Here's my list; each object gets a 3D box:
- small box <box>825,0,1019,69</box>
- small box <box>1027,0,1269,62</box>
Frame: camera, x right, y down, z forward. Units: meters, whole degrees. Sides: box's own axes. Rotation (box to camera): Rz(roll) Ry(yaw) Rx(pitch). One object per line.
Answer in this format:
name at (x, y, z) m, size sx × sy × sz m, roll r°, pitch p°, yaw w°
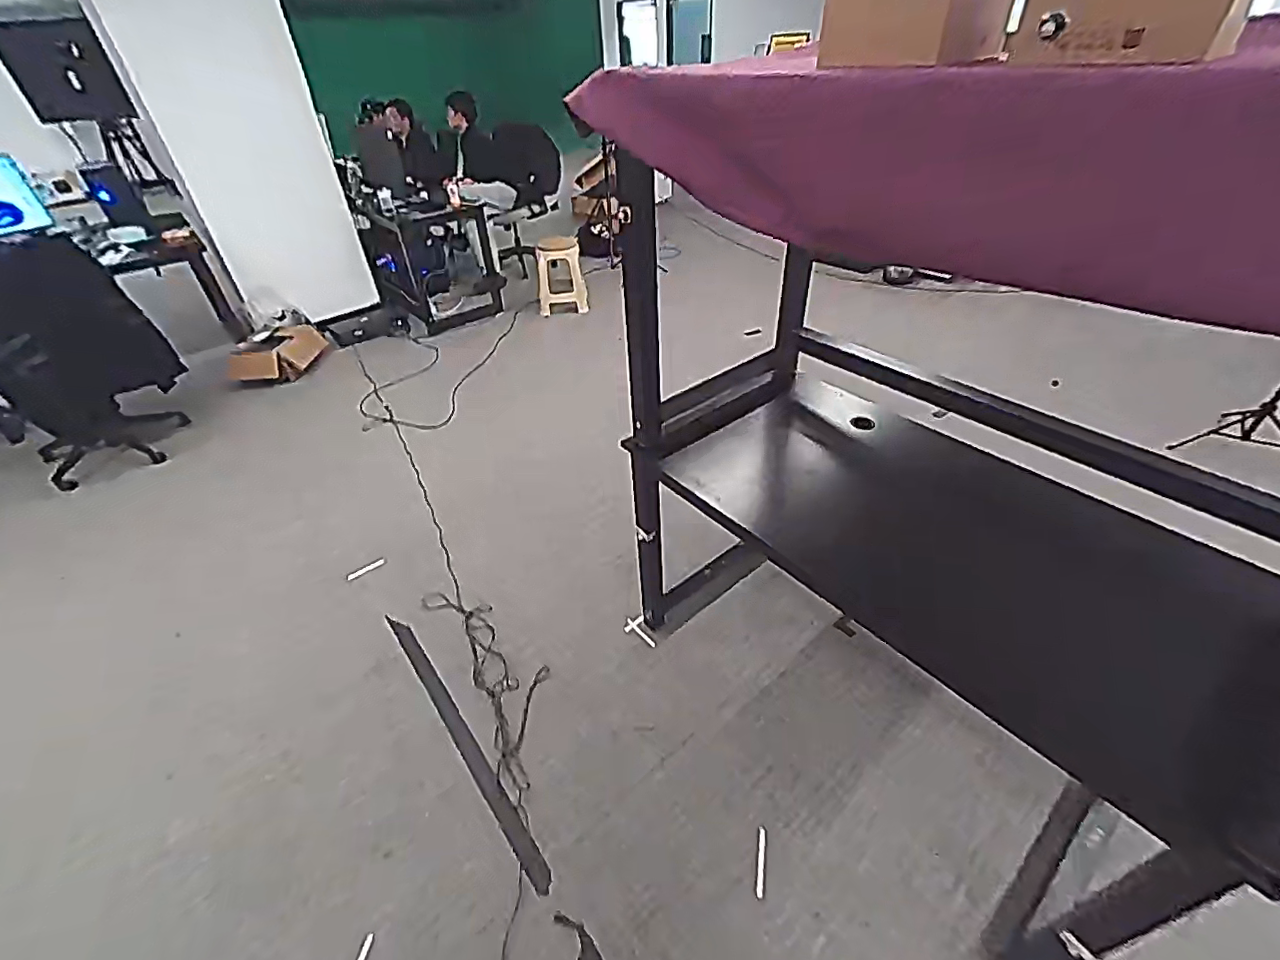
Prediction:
small box at (0.357, -0.620, 0.665) m, size 0.168 × 0.176 × 0.179 m, roll -28°, pitch 44°, yaw -28°
small box at (0.503, -0.504, 0.508) m, size 0.179 × 0.176 × 0.168 m, roll -32°, pitch 47°, yaw -32°
